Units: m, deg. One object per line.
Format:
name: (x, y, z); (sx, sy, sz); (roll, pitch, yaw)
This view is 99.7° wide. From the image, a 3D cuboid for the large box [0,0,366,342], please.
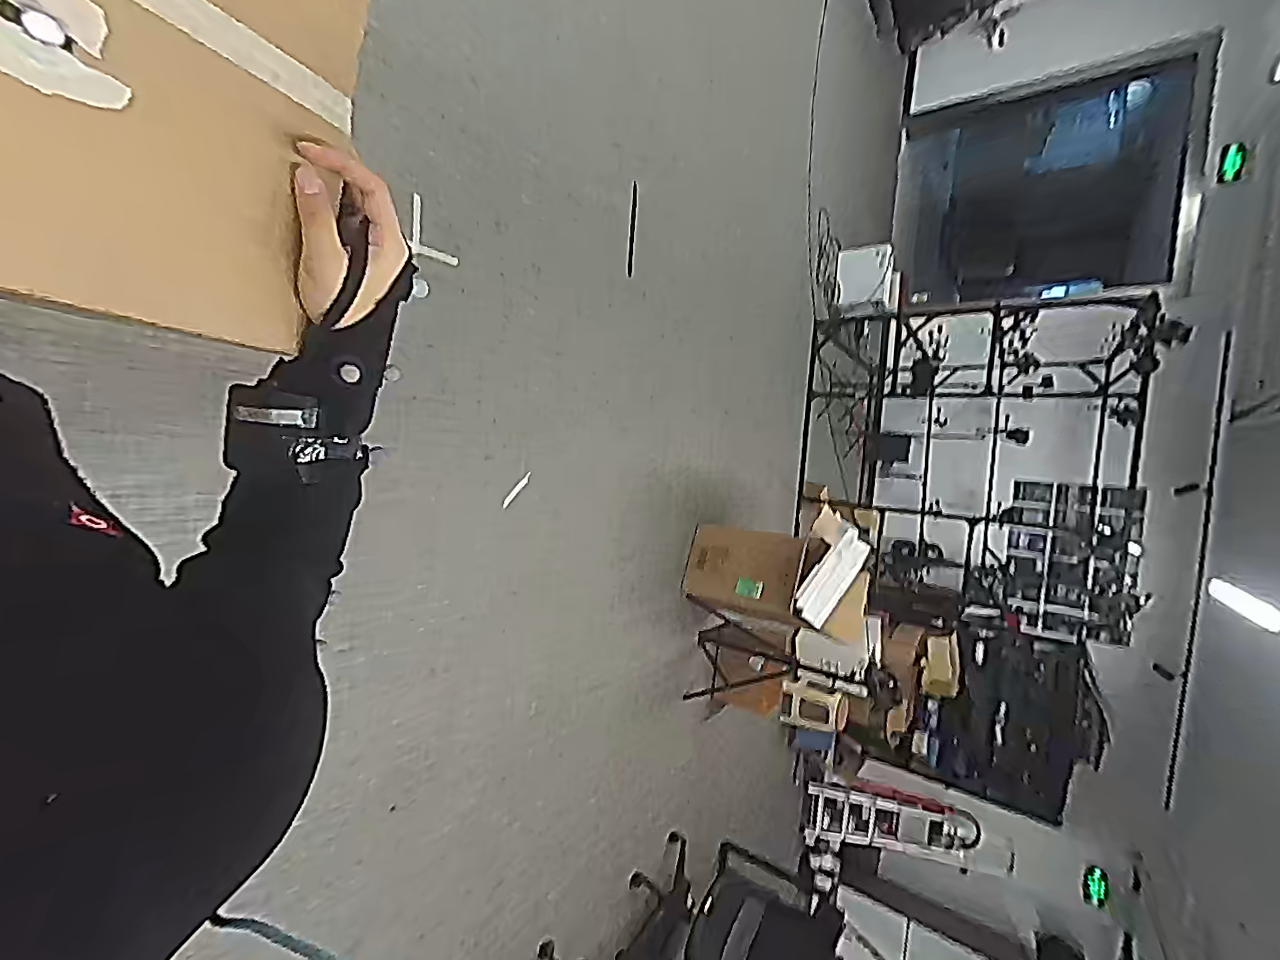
large box: (-0.419, -0.276, 0.254); (0.408, 0.320, 0.320); (3, 100, -63)
